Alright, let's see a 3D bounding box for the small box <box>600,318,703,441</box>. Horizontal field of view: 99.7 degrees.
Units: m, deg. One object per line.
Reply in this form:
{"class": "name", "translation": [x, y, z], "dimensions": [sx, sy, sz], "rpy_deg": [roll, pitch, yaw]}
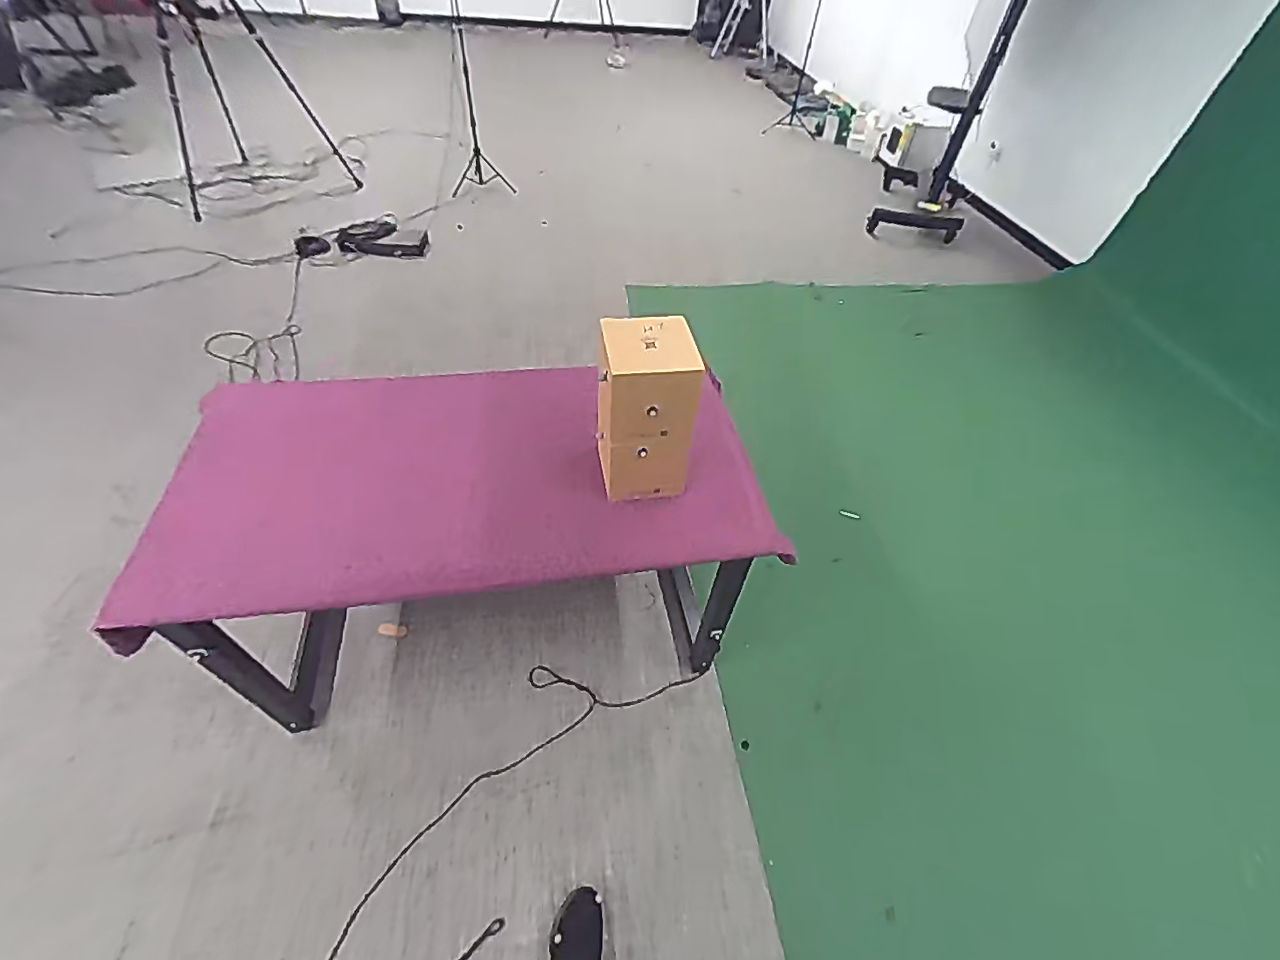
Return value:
{"class": "small box", "translation": [0.014, -0.187, 1.029], "dimensions": [0.168, 0.176, 0.179], "rpy_deg": [-4, 48, -9]}

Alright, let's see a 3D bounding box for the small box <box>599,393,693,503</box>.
{"class": "small box", "translation": [0.004, -0.075, 1.150], "dimensions": [0.168, 0.176, 0.179], "rpy_deg": [-6, 48, -9]}
